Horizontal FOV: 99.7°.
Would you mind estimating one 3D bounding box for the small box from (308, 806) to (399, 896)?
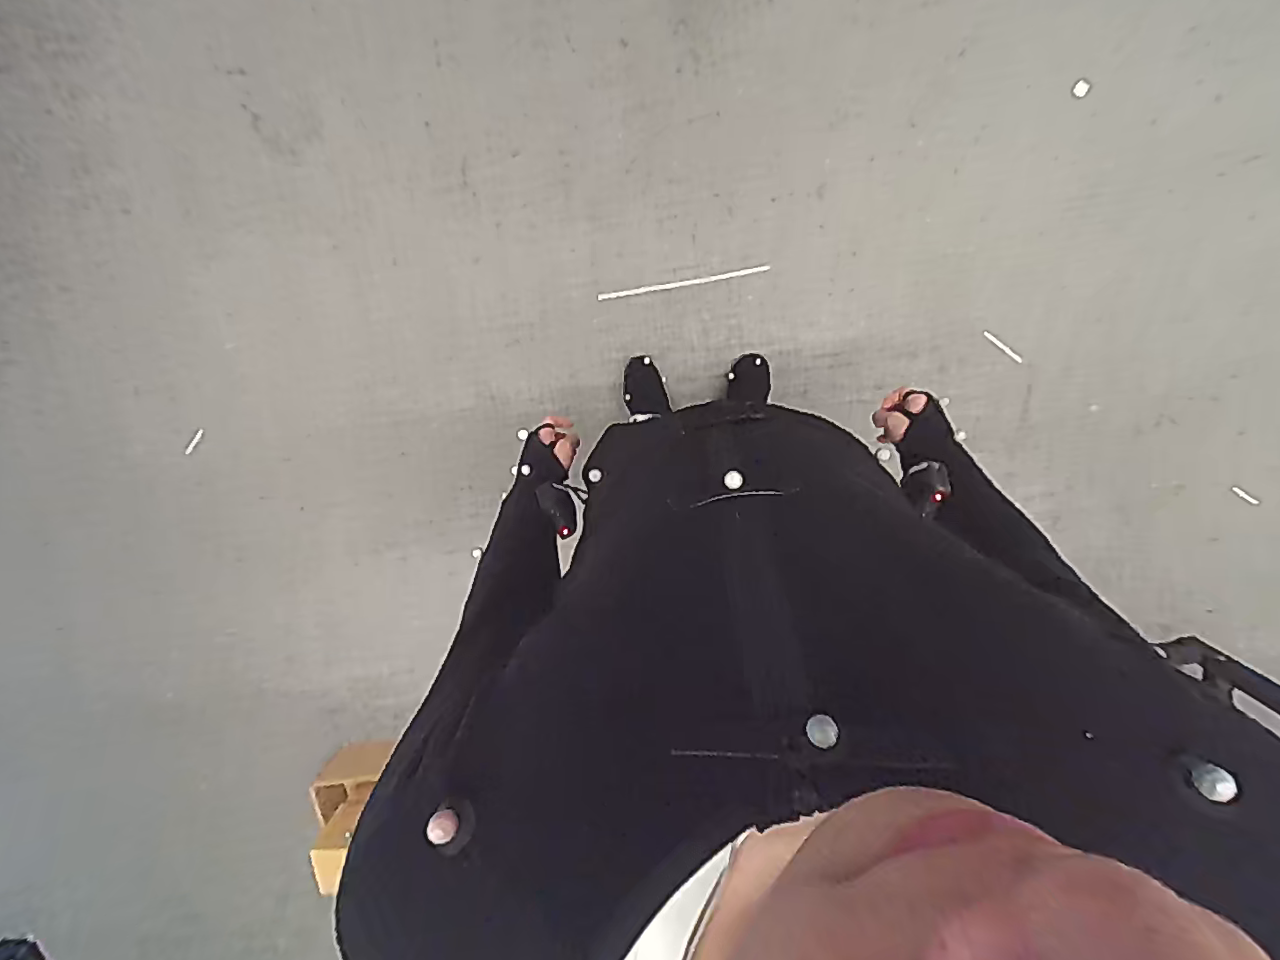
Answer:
[{"bbox_3d":[-0.874,1.136,1.664,0.179,0.176,0.168,-3,104,1],"label":"small box"}]
